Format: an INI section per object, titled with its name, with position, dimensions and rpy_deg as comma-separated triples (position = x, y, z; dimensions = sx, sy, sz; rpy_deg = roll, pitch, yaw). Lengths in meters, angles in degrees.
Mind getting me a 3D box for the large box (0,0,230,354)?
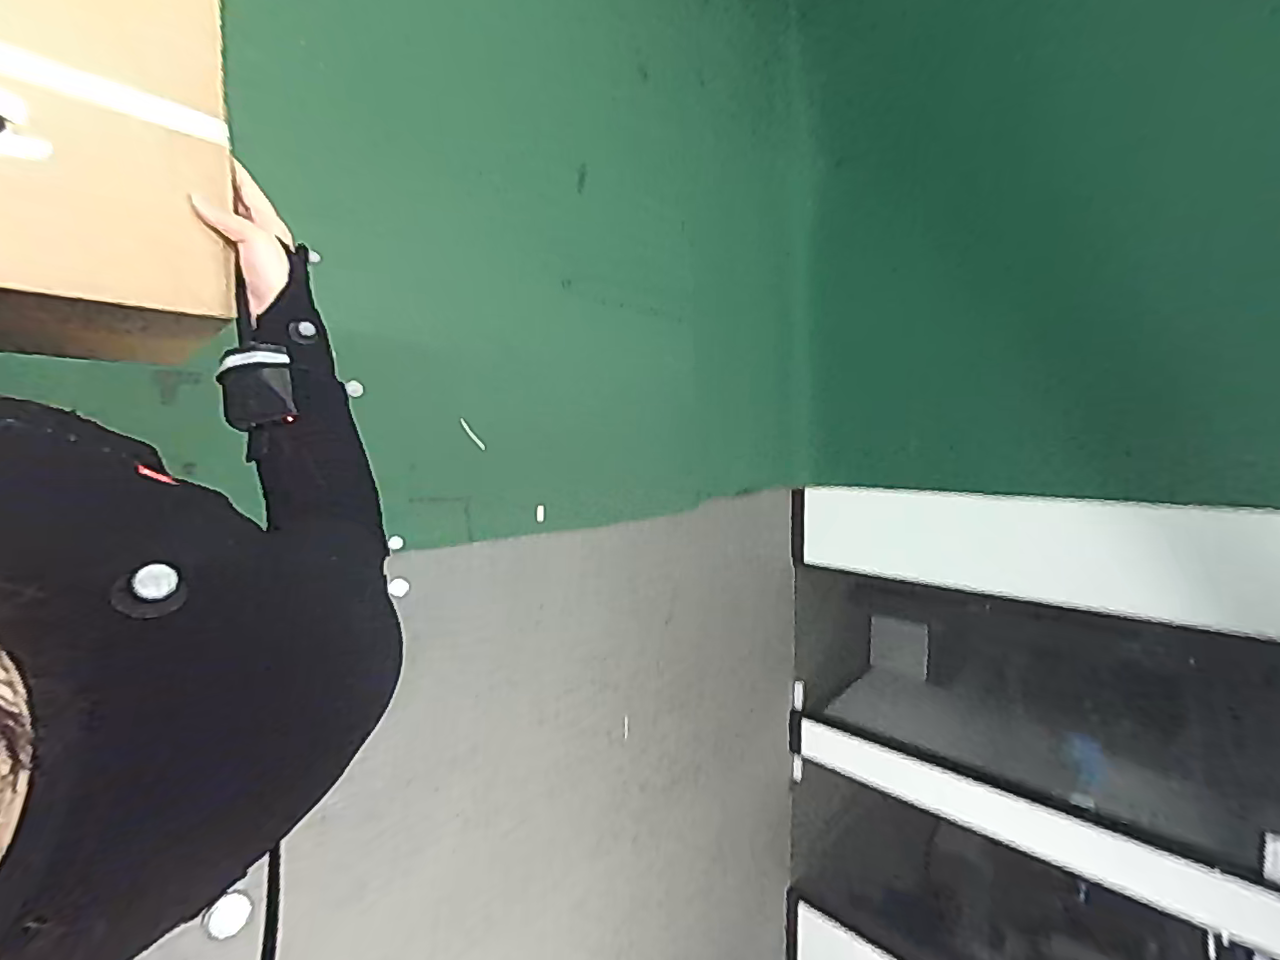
[large box]
position = -0.611, -0.291, 0.417
dimensions = 0.408, 0.320, 0.320
rpy_deg = -6, 95, -49
